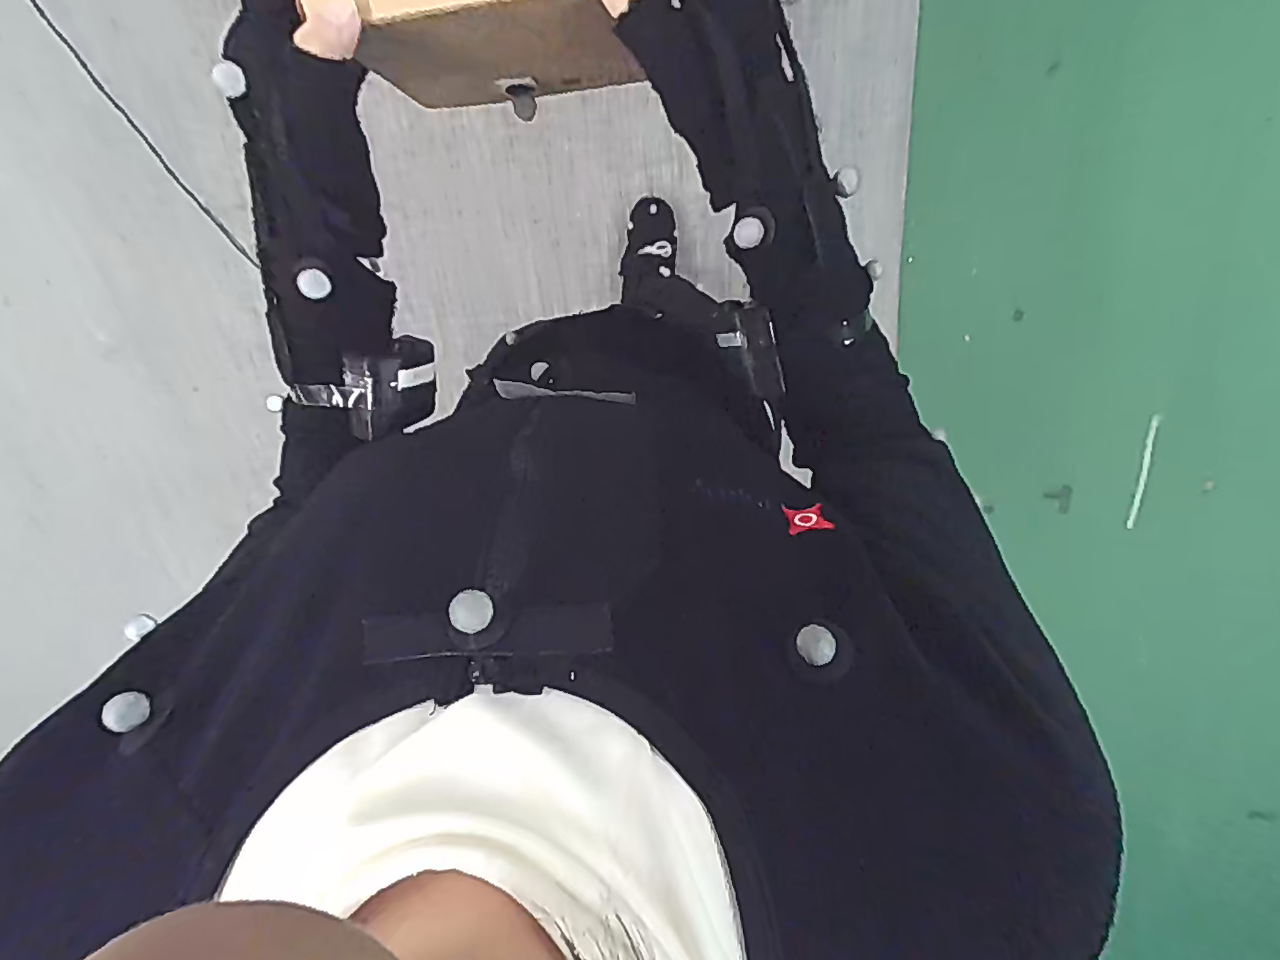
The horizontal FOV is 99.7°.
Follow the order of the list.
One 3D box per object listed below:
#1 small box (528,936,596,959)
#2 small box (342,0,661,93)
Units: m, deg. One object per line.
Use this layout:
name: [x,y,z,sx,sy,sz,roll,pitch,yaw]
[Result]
small box: [-0.197,1.329,1.394,0.168,0.176,0.179,-11,110,3]
small box: [-0.079,-0.332,0.275,0.168,0.176,0.179,-7,114,2]
